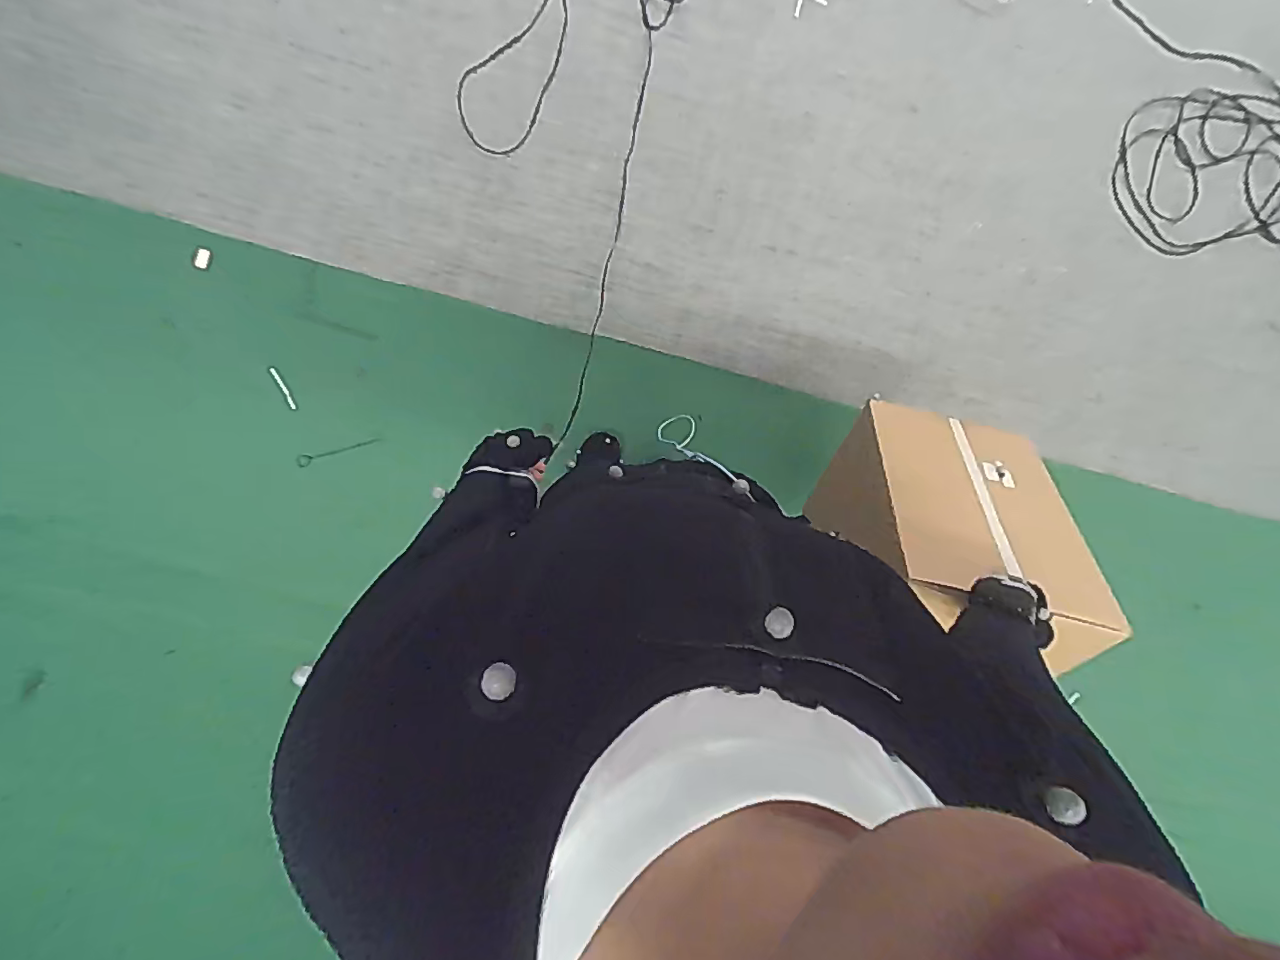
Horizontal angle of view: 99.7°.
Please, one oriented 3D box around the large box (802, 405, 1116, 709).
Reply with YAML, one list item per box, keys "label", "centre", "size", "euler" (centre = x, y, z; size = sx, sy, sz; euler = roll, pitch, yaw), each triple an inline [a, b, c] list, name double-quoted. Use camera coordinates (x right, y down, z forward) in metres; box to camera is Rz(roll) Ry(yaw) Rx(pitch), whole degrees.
- label: "large box"
  centre: [0.504, 0.133, 0.973]
  size: [0.320, 0.408, 0.320]
  euler: [15, 135, -2]
